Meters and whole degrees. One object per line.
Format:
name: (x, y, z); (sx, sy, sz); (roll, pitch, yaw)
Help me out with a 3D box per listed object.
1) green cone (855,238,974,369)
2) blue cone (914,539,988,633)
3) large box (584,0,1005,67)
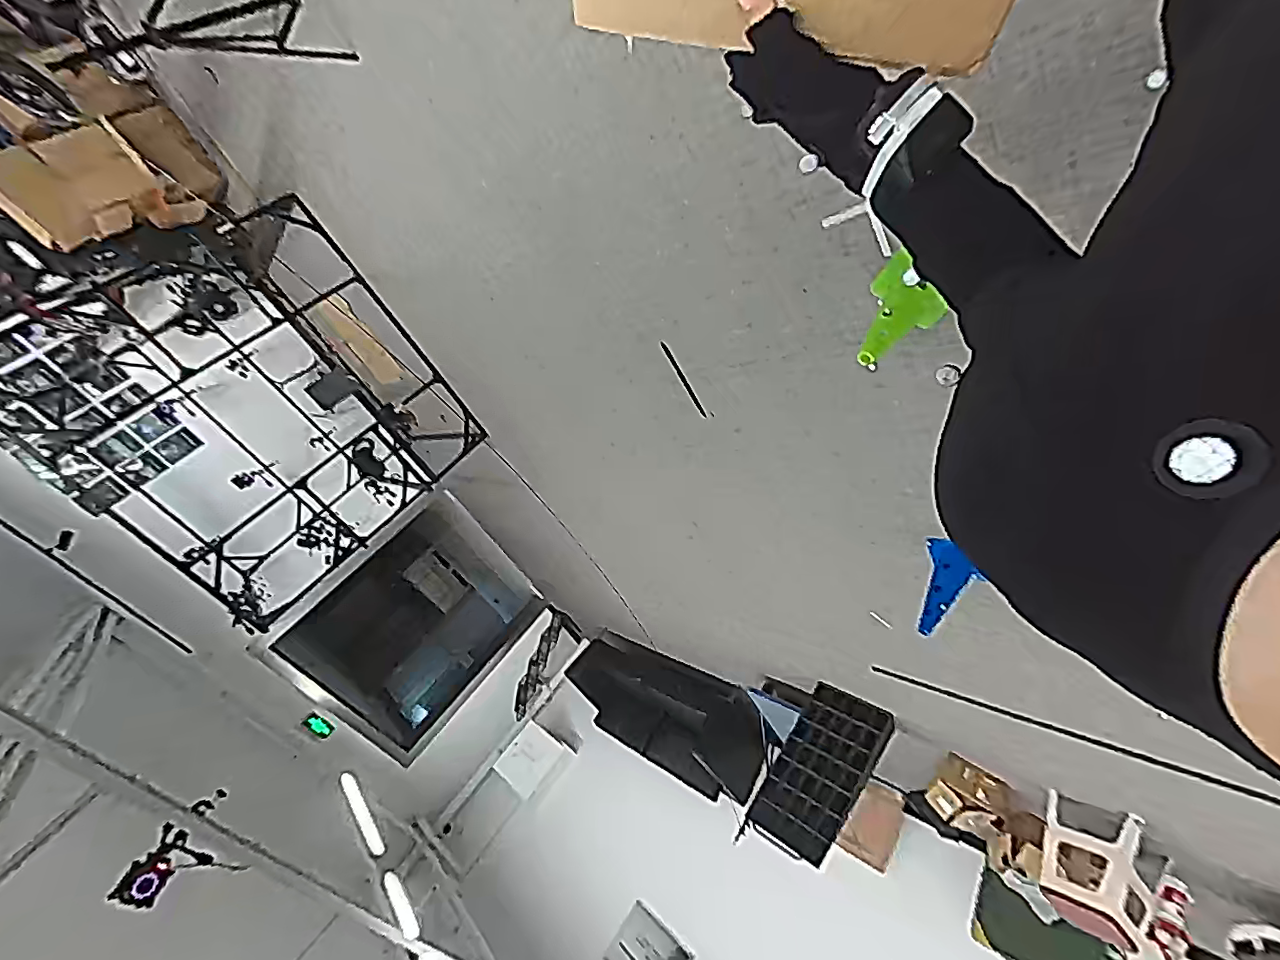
green cone: (0.642, -0.406, 1.368); (0.200, 0.368, 0.202); (39, 155, 7)
blue cone: (1.114, 0.411, 1.993); (0.192, 0.380, 0.193); (9, 139, 50)
large box: (0.146, -0.561, 0.323); (0.320, 0.320, 0.408); (17, 151, 10)
